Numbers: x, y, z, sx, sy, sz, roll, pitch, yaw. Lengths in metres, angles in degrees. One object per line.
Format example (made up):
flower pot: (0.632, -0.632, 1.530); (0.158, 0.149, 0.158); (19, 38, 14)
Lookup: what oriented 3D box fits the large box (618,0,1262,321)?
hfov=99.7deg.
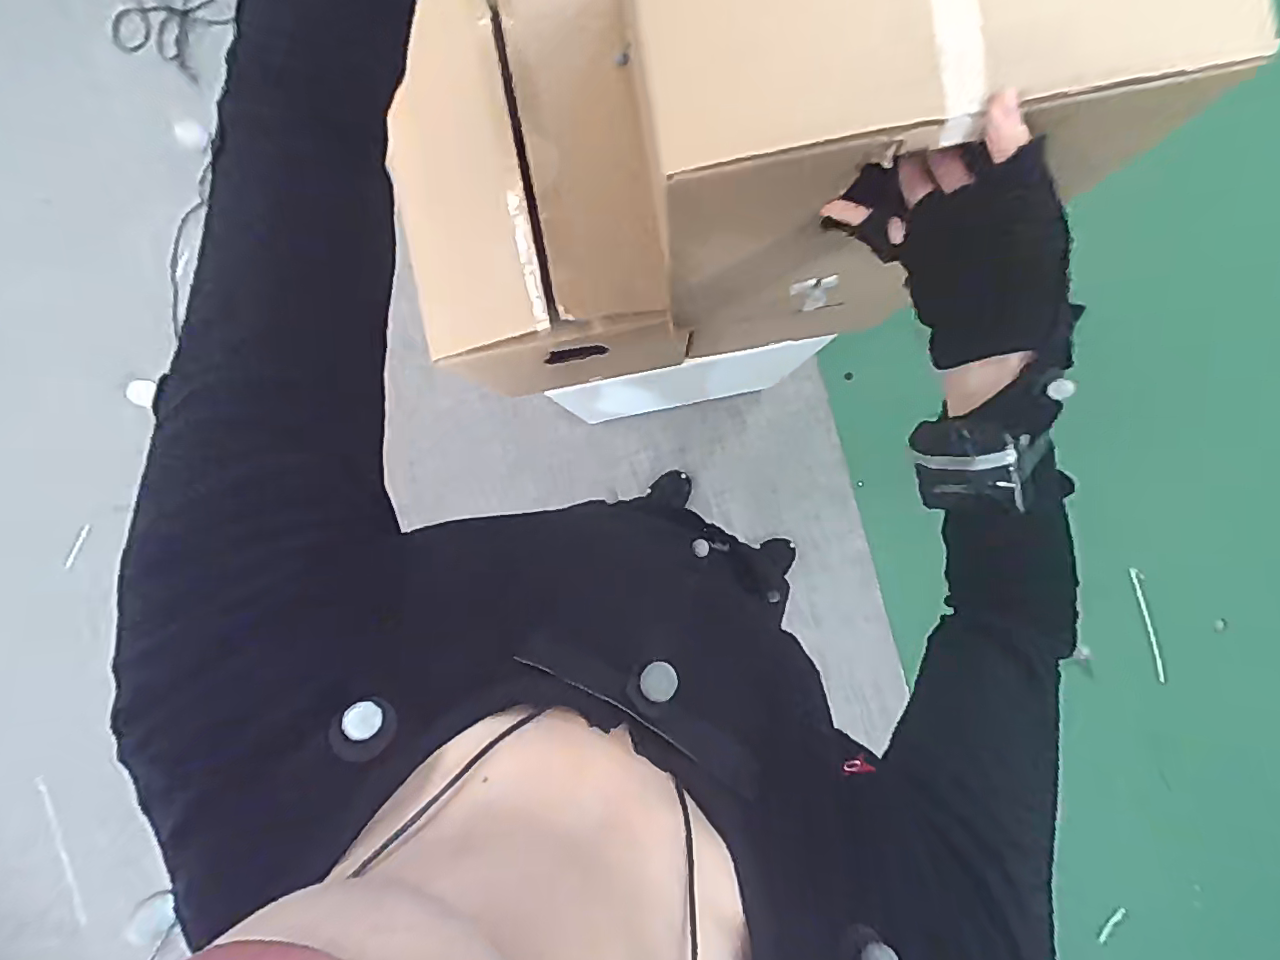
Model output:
large box: (0.141, -0.390, 0.432); (0.320, 0.320, 0.408); (-8, 89, 4)
